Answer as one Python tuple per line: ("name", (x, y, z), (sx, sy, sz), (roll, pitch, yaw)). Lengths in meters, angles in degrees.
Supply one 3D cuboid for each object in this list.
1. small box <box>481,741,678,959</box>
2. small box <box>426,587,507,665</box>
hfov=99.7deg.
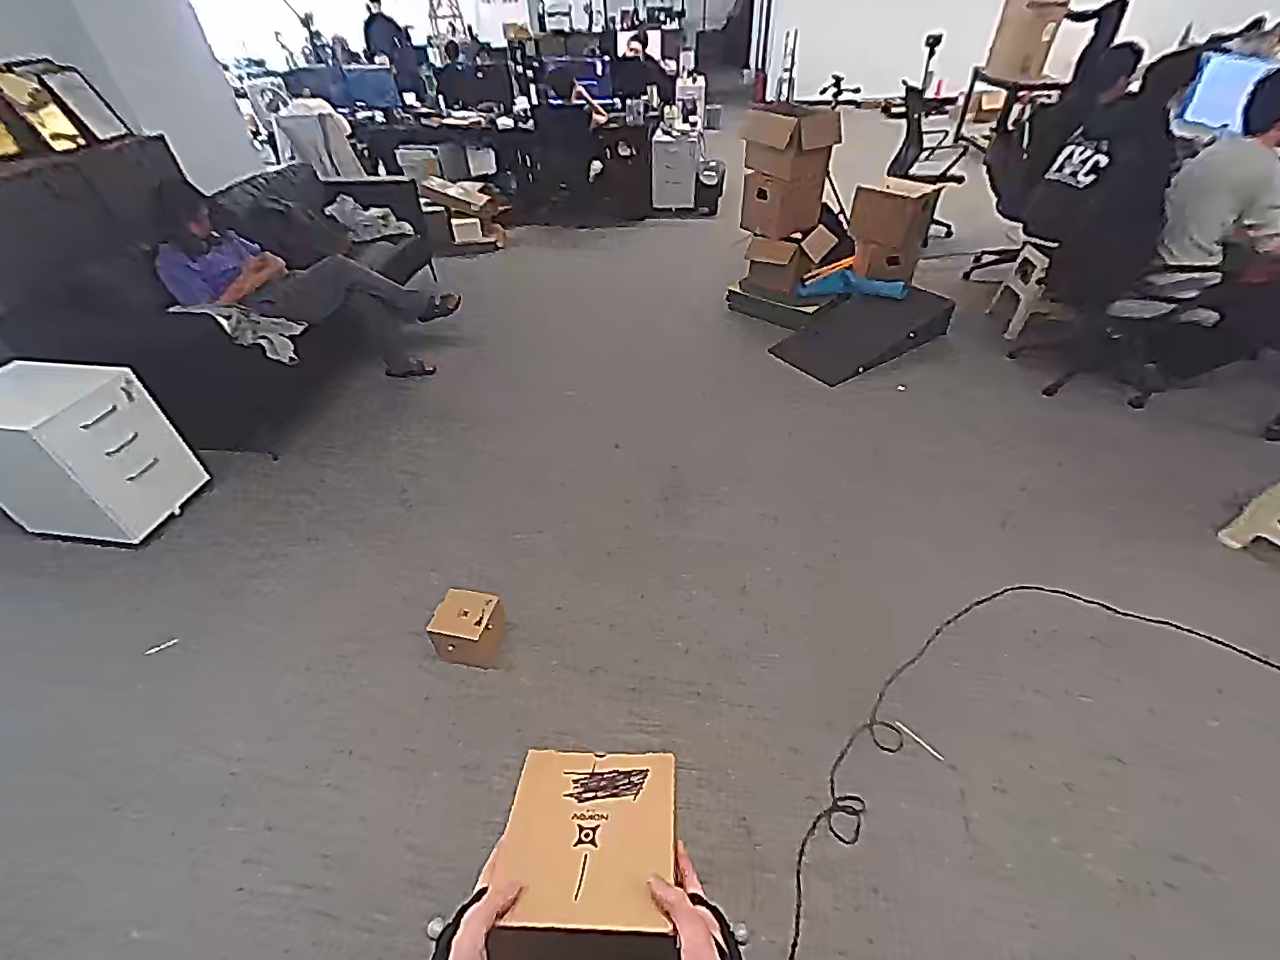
("small box", (-0.047, 0.403, 0.557), (0.168, 0.176, 0.179), (-1, 22, 5))
("small box", (-0.551, 0.473, 1.744), (0.179, 0.176, 0.168), (7, 41, 11))
